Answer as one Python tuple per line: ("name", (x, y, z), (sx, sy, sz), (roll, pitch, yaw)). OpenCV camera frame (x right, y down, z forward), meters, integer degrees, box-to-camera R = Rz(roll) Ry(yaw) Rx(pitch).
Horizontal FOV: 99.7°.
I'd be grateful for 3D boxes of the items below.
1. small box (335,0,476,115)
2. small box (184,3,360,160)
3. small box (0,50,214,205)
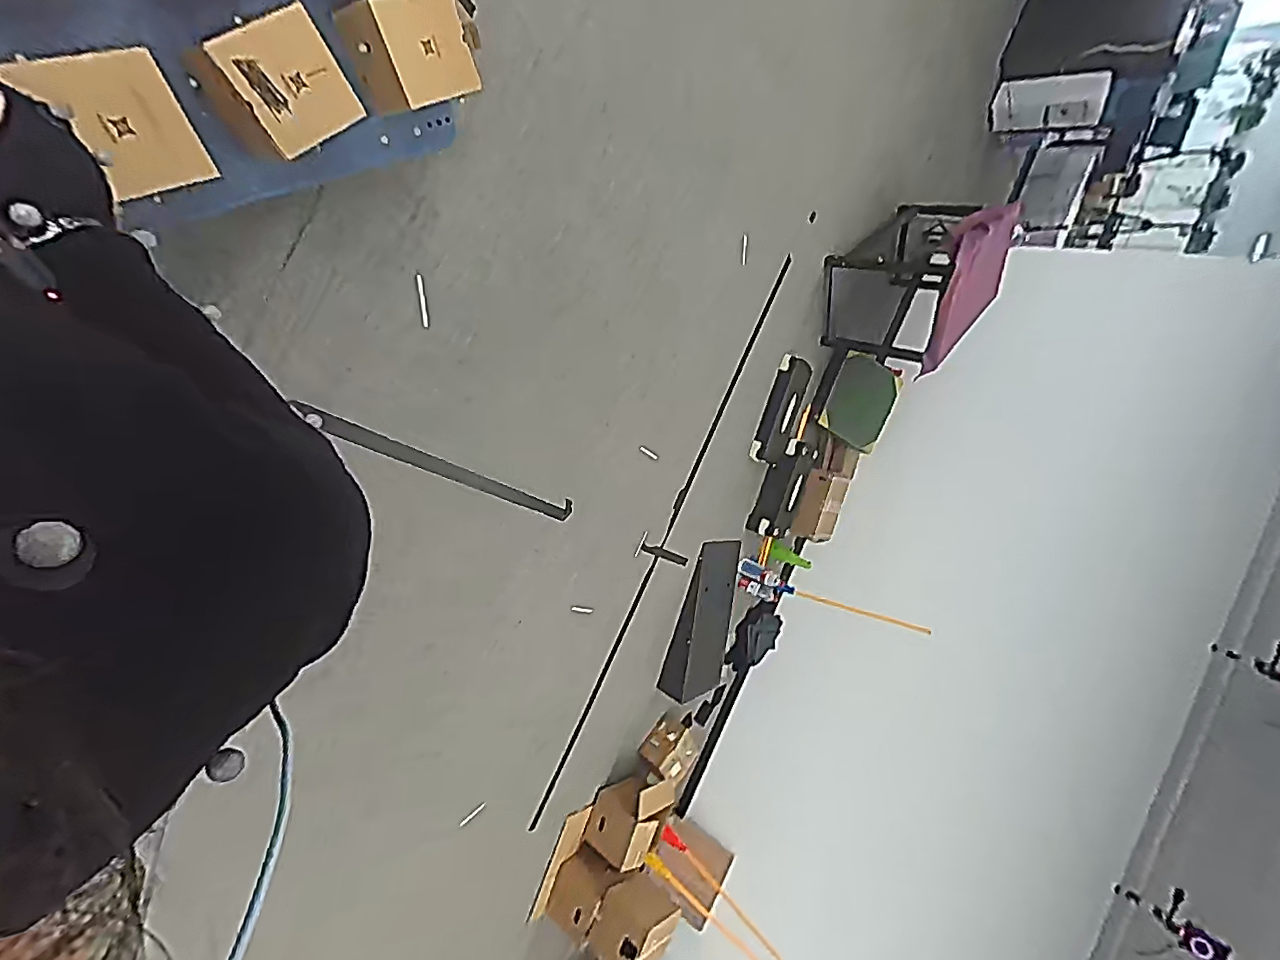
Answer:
("small box", (-0.468, -0.844, 1.069), (0.179, 0.176, 0.168), (-44, 138, -29))
("small box", (-0.639, -0.678, 0.937), (0.179, 0.176, 0.168), (-51, 141, -23))
("small box", (-0.802, -0.522, 0.812), (0.179, 0.176, 0.168), (-41, 138, -32))
